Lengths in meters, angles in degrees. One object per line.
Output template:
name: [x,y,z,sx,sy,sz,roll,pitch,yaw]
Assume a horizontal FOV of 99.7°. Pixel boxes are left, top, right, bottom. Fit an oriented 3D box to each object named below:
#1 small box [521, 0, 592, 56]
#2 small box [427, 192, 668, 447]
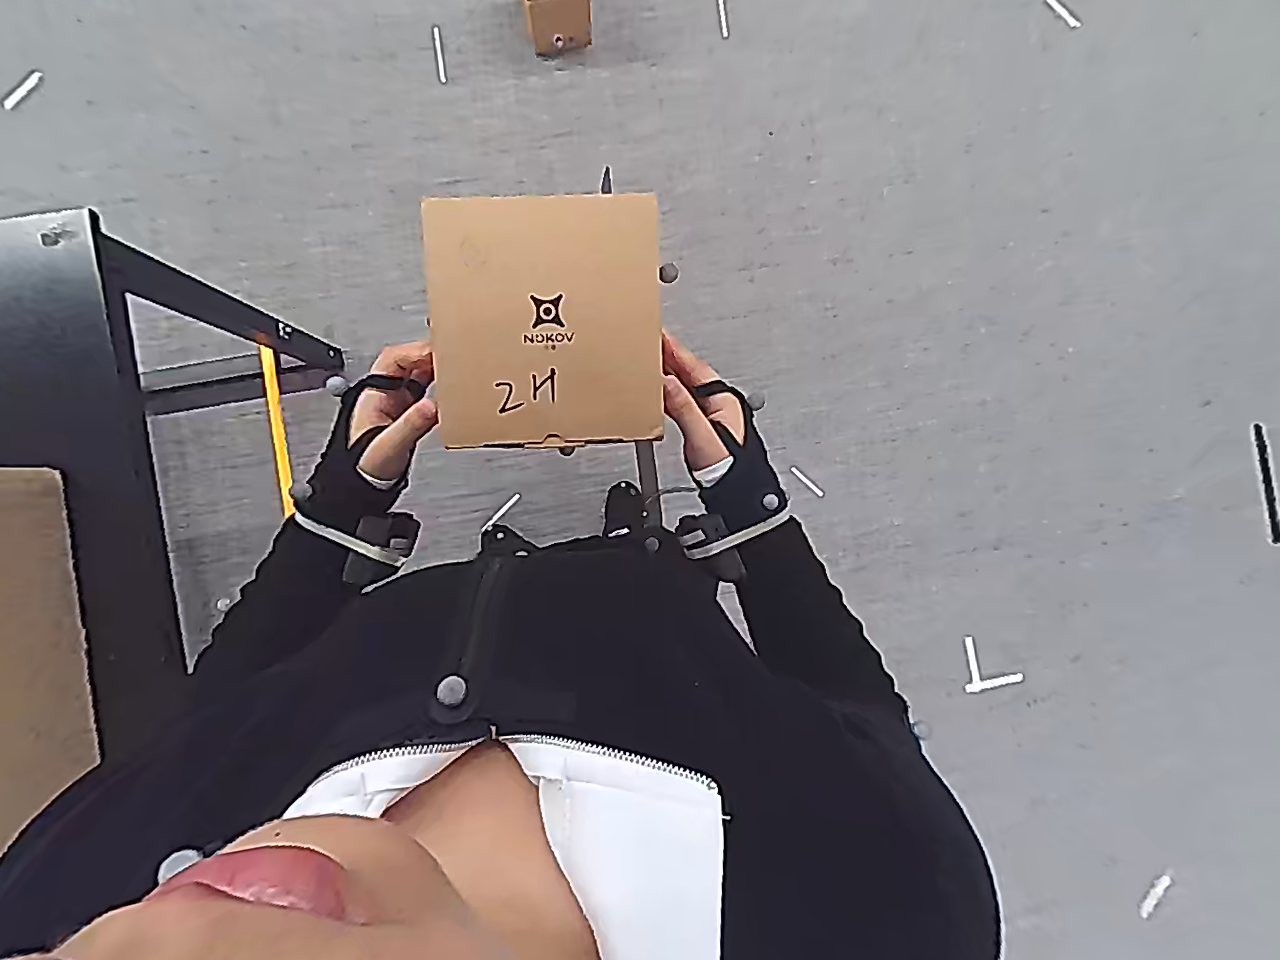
small box: [-0.227,-1.274,1.419,0.168,0.176,0.179,-15,92,-3]
small box: [-0.067,-0.120,0.461,0.168,0.176,0.179,-2,97,-2]
